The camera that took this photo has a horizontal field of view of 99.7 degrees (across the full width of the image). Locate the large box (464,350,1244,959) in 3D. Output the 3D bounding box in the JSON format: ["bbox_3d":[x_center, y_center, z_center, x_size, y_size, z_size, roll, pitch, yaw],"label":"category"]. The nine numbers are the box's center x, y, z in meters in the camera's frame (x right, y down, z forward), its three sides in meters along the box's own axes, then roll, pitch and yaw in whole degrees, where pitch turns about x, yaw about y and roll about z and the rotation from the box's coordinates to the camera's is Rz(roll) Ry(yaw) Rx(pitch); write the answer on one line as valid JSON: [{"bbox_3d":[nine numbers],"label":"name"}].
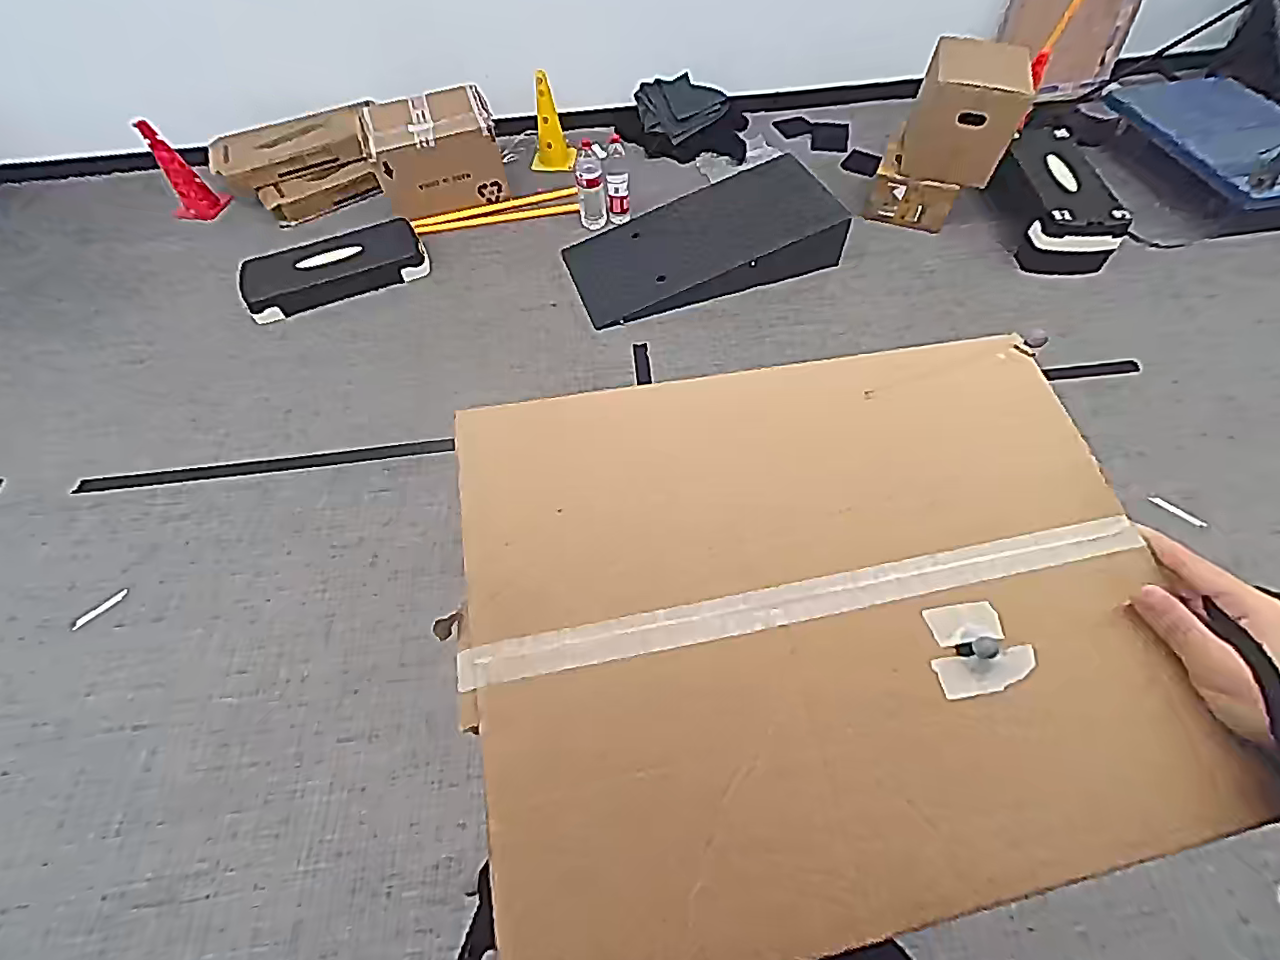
[{"bbox_3d":[0.098,0.132,0.459,0.408,0.320,0.320,-9,68,-9],"label":"large box"}]
